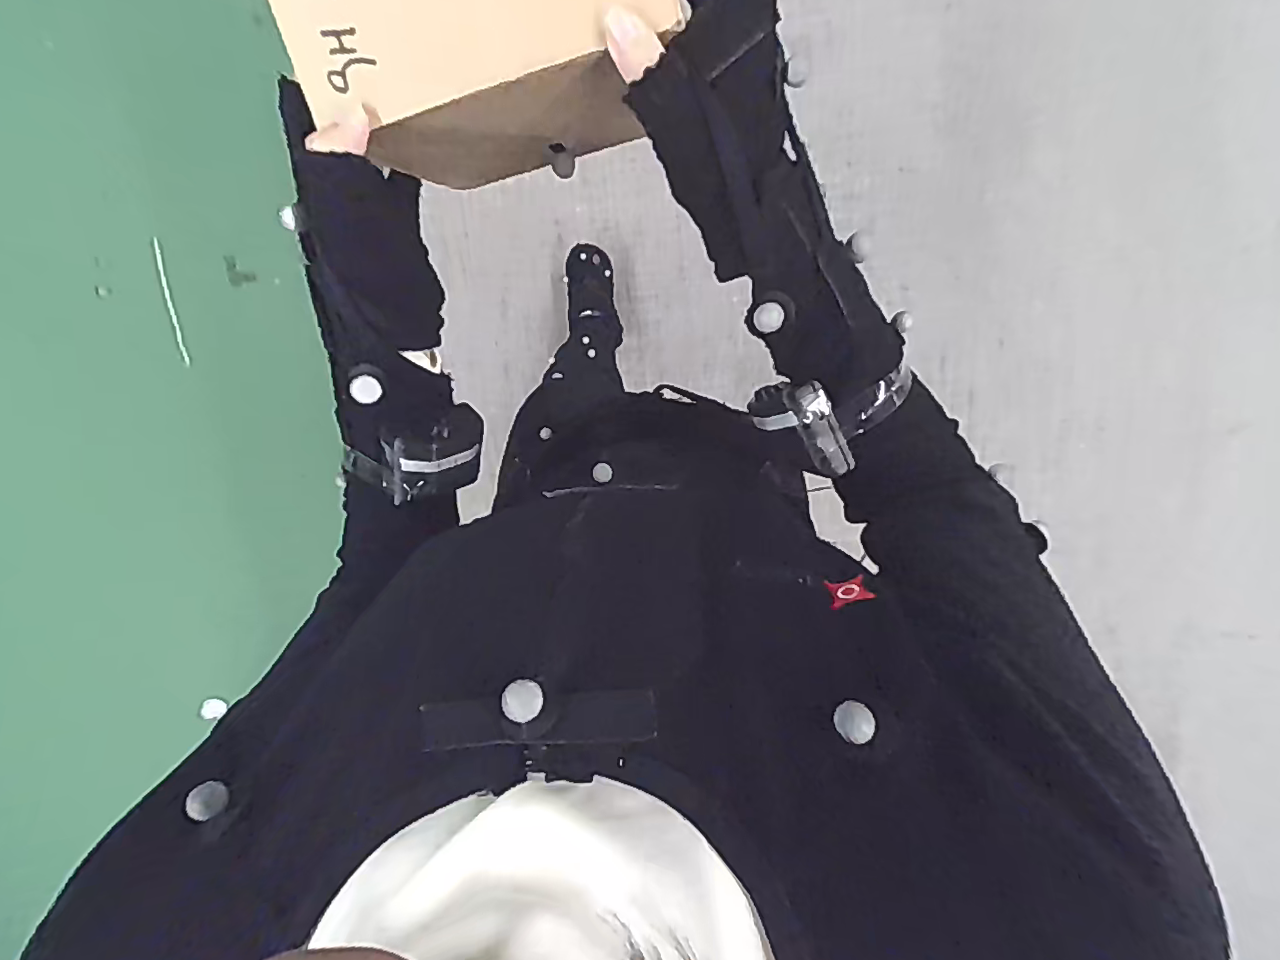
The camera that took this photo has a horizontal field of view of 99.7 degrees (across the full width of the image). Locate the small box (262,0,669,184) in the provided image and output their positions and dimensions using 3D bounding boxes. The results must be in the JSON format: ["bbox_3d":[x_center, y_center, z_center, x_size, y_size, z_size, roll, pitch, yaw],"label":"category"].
[{"bbox_3d":[-0.082,-0.279,0.291,0.179,0.176,0.168,-10,109,9],"label":"small box"}]
